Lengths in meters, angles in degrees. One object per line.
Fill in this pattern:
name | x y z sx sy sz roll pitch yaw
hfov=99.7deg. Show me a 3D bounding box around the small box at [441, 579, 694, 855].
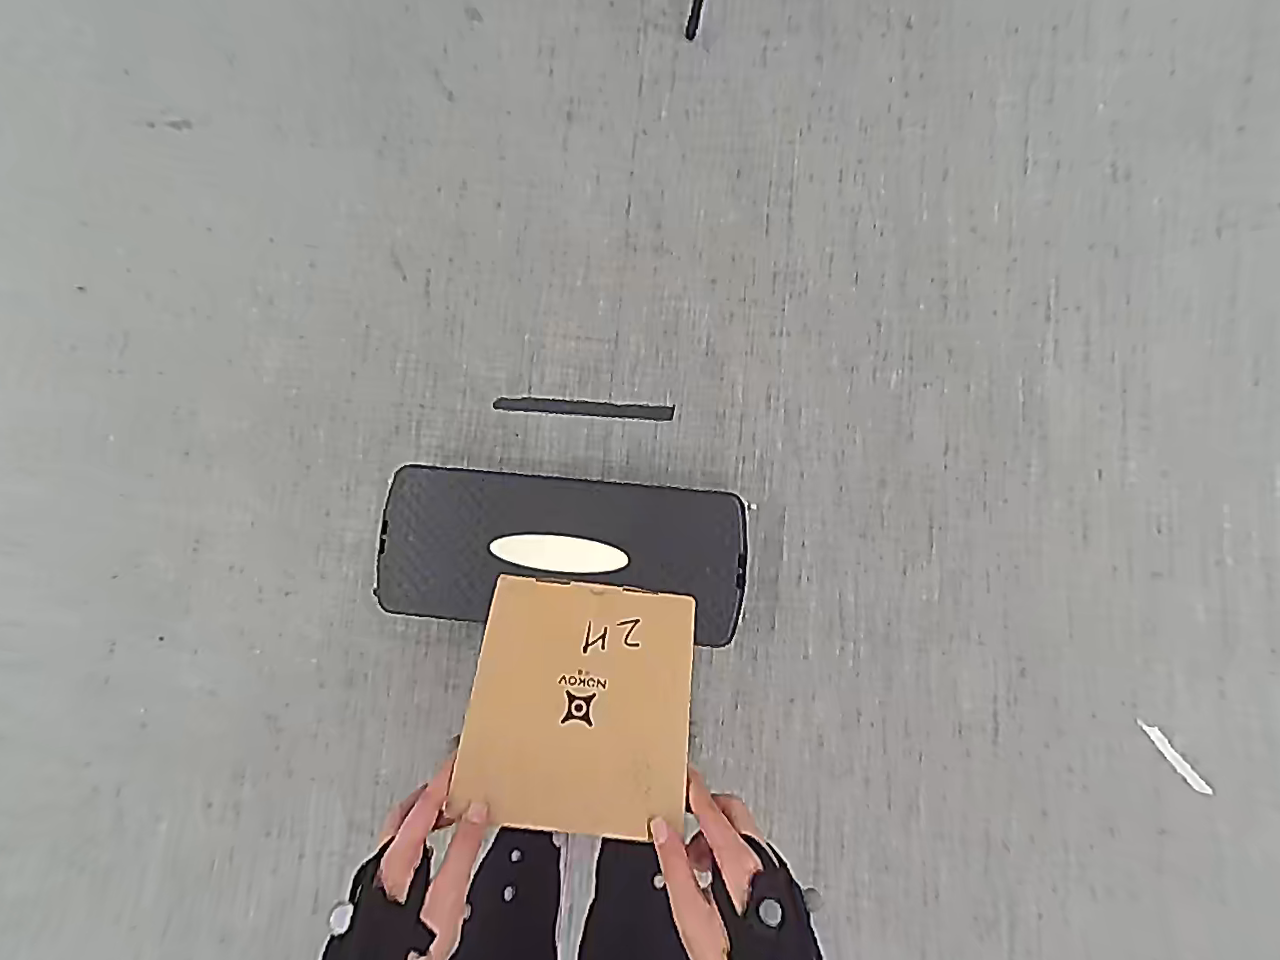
small box | -0.049 0.203 0.468 0.168 0.176 0.179 6 60 -1
